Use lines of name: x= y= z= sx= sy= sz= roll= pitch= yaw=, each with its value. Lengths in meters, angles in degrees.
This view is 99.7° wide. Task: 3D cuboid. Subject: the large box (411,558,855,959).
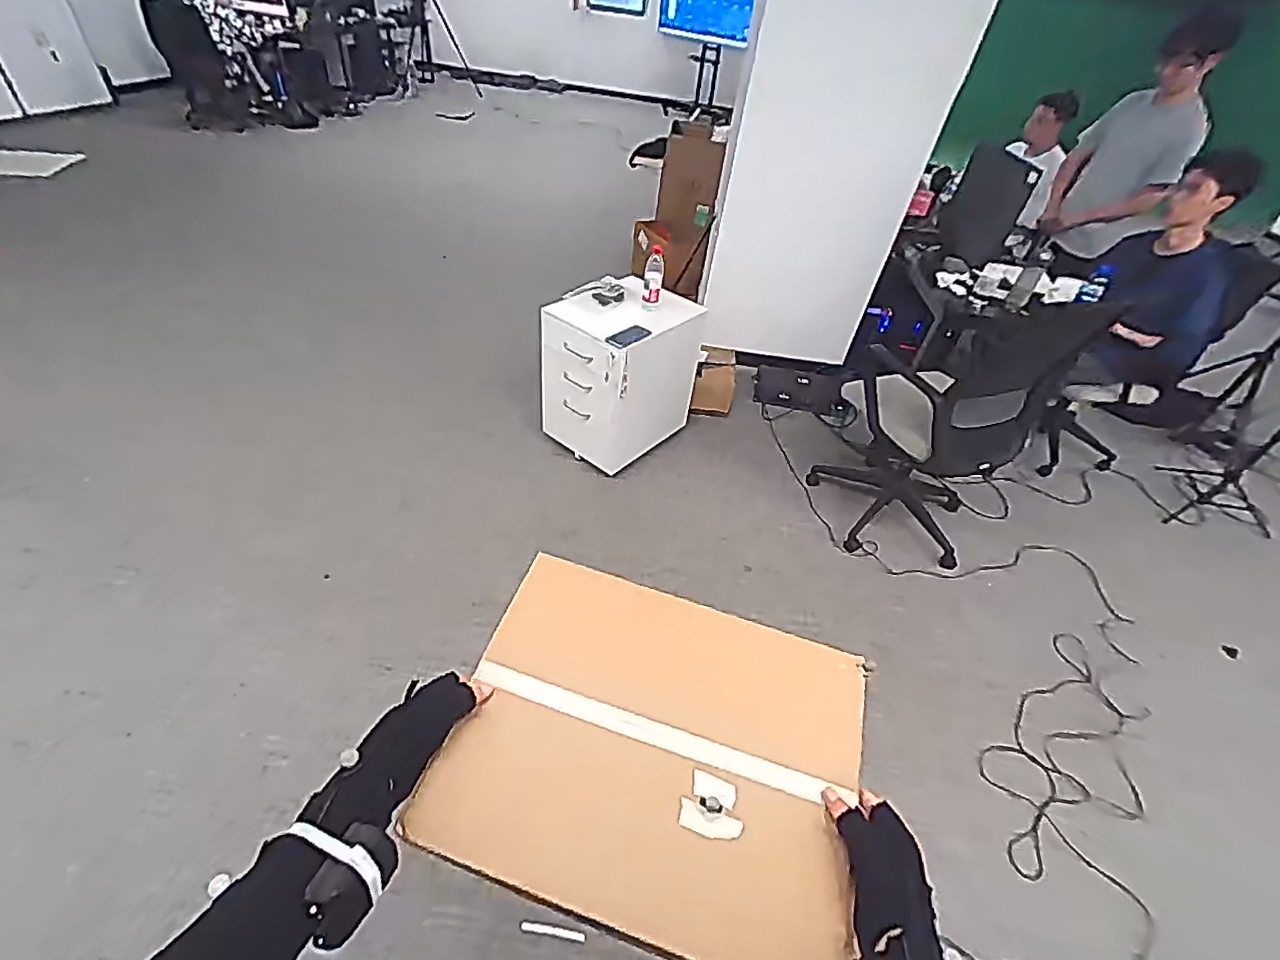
large box: x=0.005 y=0.353 z=0.675 sx=0.408 sy=0.320 sz=0.320 roll=17 pitch=52 yaw=7
